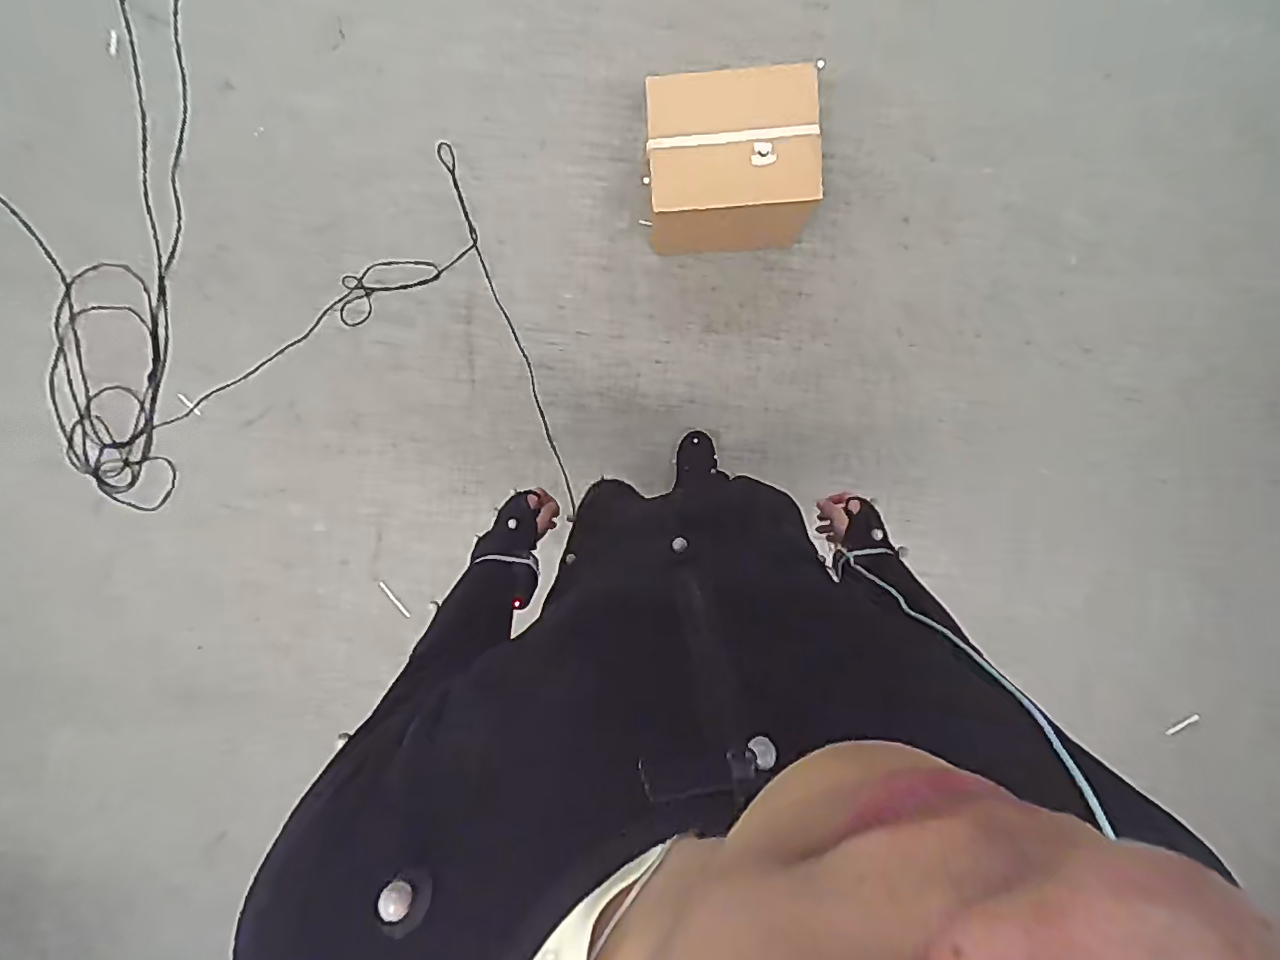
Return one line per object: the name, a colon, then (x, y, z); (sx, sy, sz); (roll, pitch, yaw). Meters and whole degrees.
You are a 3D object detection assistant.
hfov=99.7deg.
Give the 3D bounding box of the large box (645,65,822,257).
large box: (0.226, -0.810, 1.423); (0.408, 0.320, 0.320); (-3, 93, 3)
